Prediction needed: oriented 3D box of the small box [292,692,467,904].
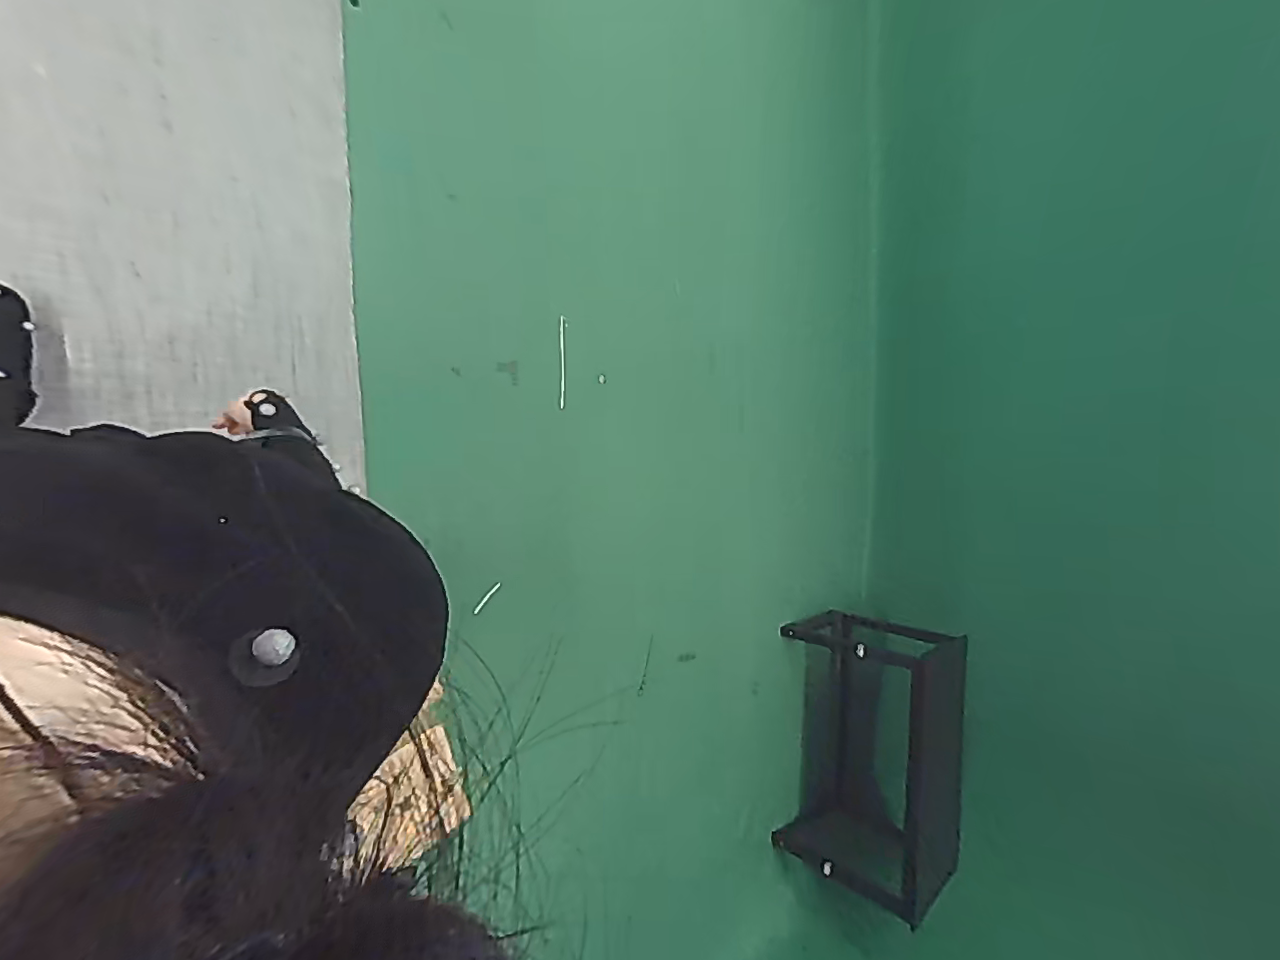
[{"bbox_3d":[-0.386,0.446,0.793,0.179,0.176,0.168,-22,107,-40],"label":"small box"}]
